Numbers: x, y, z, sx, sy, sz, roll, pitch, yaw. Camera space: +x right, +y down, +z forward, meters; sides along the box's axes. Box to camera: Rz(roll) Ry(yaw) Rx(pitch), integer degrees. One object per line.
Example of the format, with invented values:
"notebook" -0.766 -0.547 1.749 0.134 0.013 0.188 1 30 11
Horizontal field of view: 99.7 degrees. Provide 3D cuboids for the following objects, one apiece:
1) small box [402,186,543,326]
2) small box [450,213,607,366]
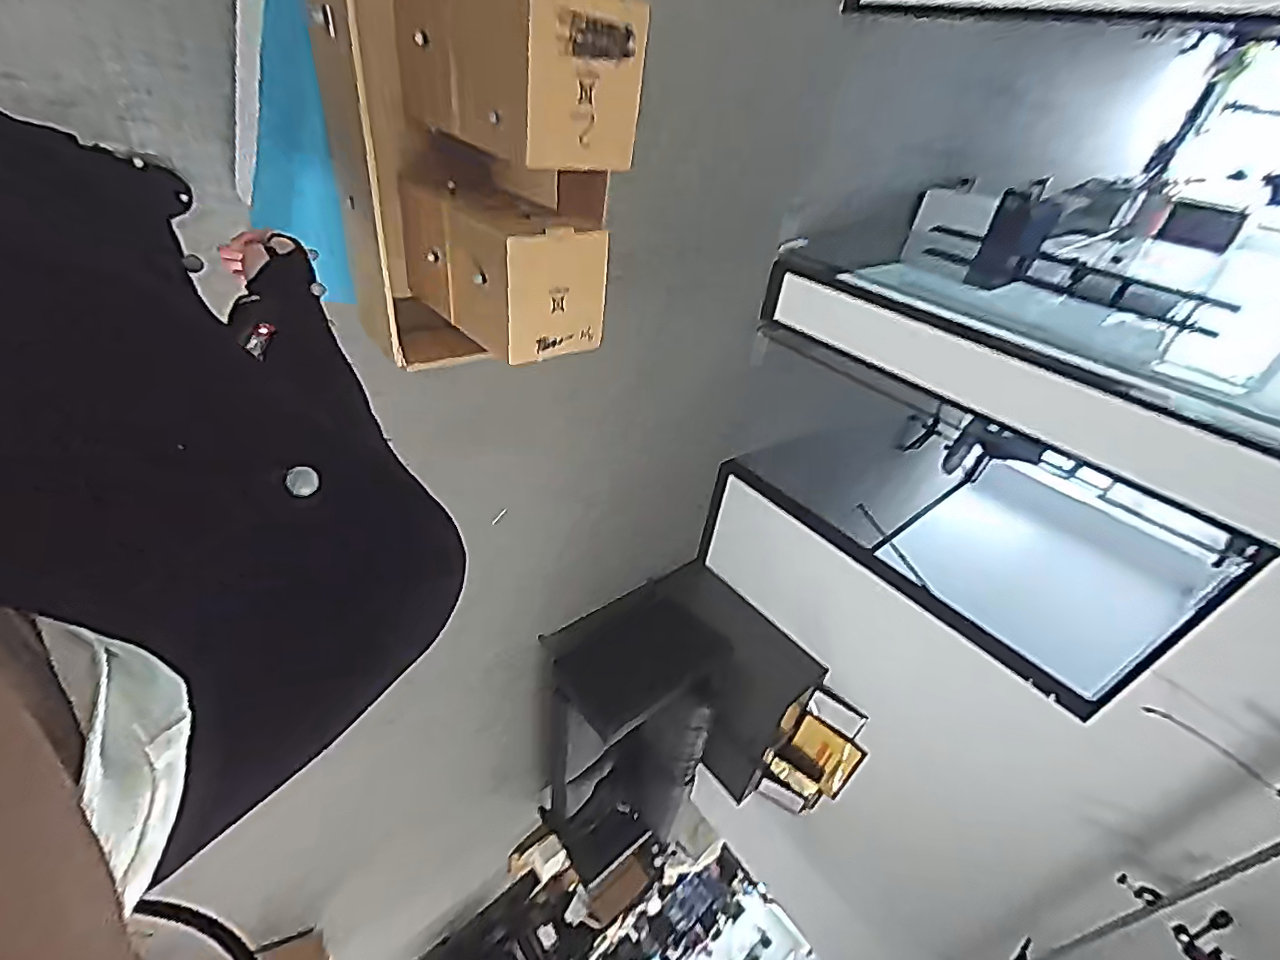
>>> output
"small box" -0.278 -0.376 0.897 0.168 0.176 0.179 -21 136 -38
"small box" -0.169 -0.293 0.808 0.168 0.176 0.179 -22 134 -36
